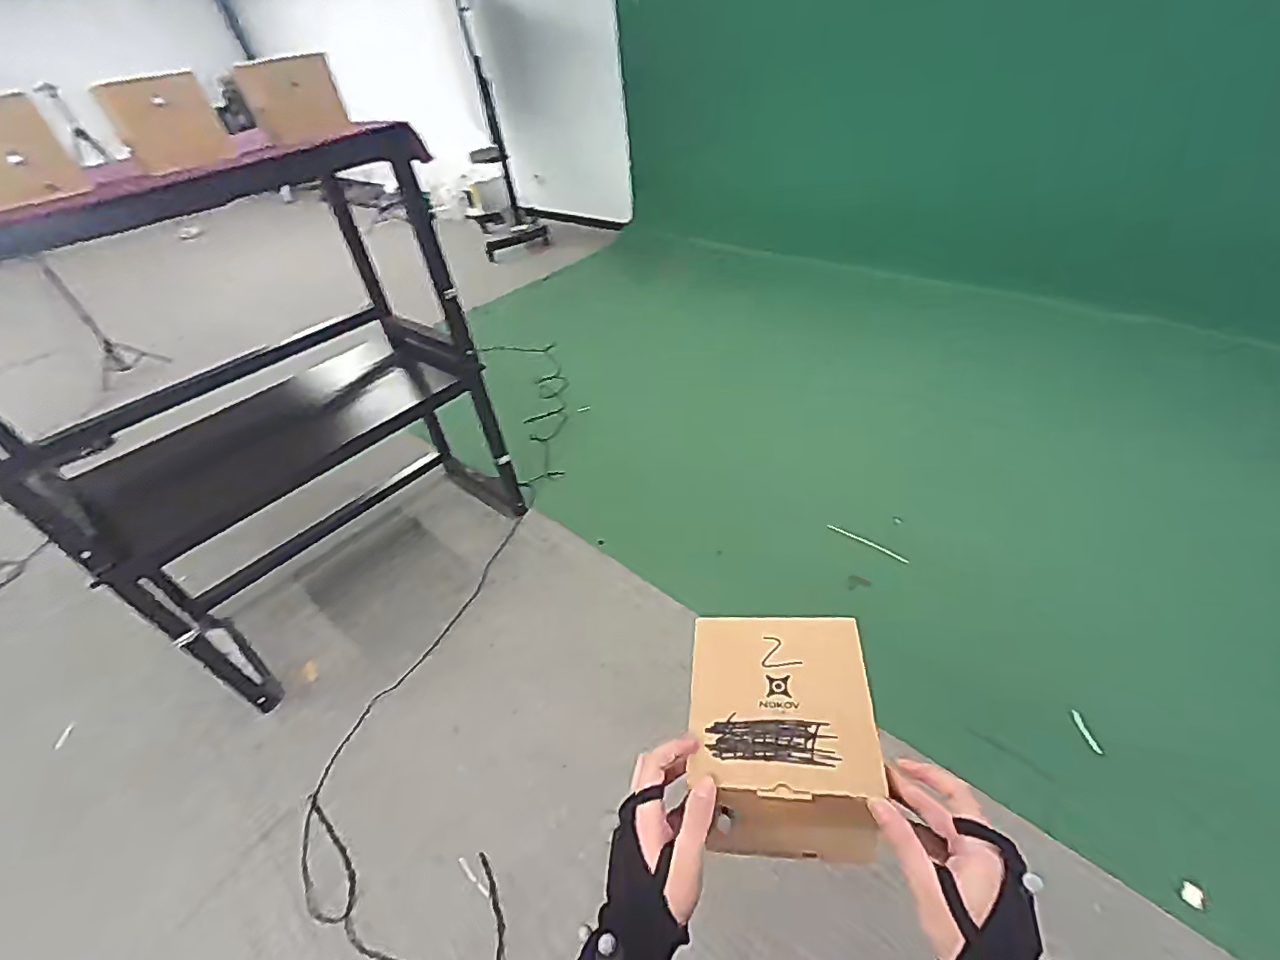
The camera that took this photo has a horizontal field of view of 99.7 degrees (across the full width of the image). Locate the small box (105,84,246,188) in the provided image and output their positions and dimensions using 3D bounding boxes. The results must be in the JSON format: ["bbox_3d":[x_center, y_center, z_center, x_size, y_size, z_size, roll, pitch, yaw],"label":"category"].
[{"bbox_3d":[-1.038,-0.780,1.224,0.168,0.176,0.179,26,51,35],"label":"small box"}]

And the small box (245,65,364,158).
[{"bbox_3d":[-0.846,-0.934,1.372,0.168,0.176,0.179,31,54,35],"label":"small box"}]

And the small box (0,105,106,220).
[{"bbox_3d":[-1.223,-0.629,1.073,0.179,0.176,0.168,25,49,33],"label":"small box"}]
